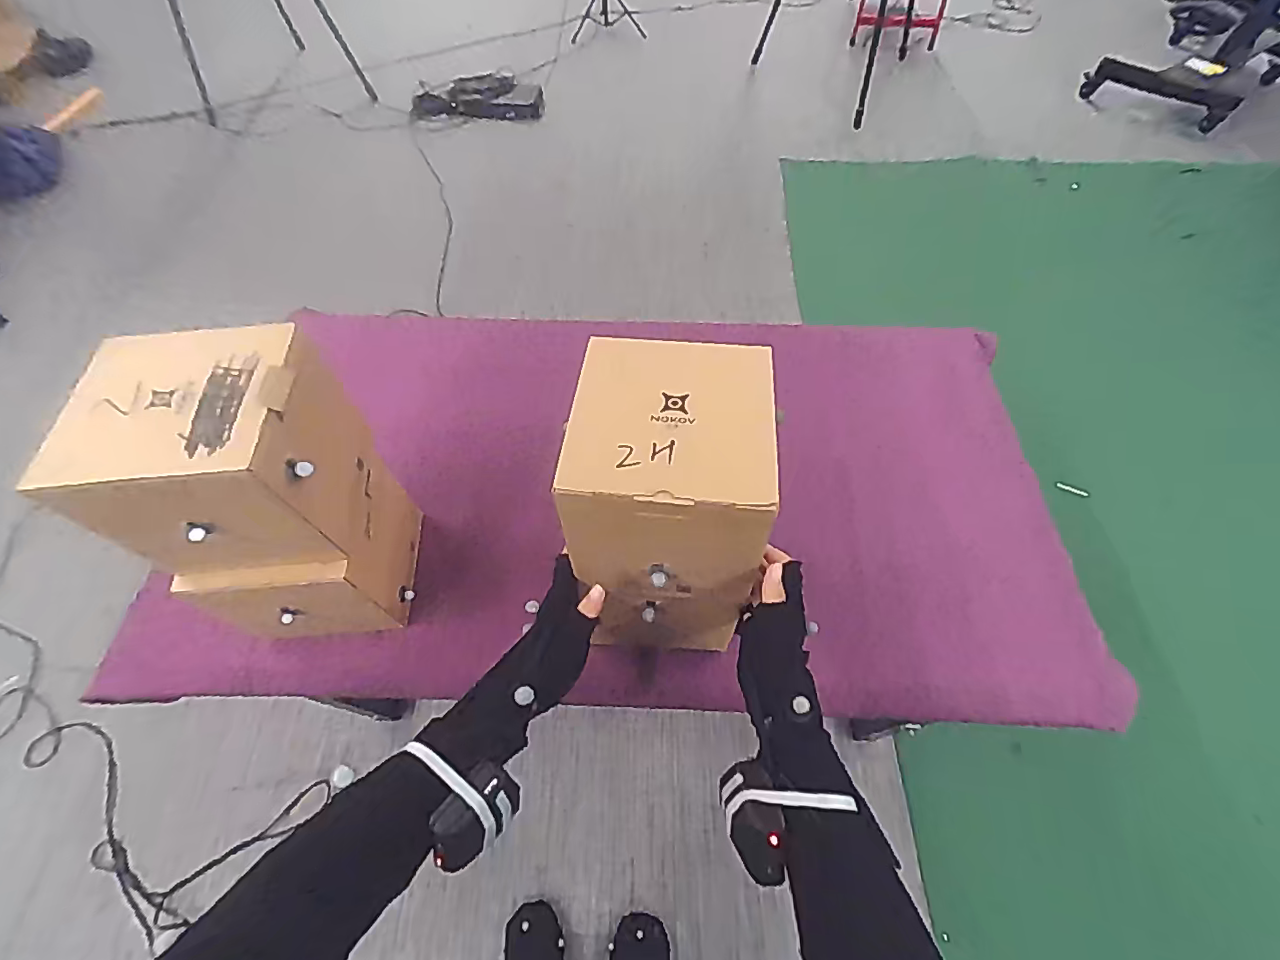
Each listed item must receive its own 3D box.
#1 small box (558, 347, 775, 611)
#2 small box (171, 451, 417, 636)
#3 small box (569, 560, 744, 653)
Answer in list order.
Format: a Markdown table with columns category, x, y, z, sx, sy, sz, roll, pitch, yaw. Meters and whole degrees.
| category | x | y | z | sx | sy | sz | roll | pitch | yaw |
| --- | --- | --- | --- | --- | --- | --- | --- | --- | --- |
| small box | 0.028 | 0.002 | 0.510 | 0.168 | 0.176 | 0.179 | 6 | 55 | 4 |
| small box | -0.389 | 0.081 | 0.653 | 0.179 | 0.176 | 0.168 | -4 | 58 | -2 |
| small box | 0.021 | 0.098 | 0.644 | 0.179 | 0.176 | 0.168 | 3 | 54 | 3 |
